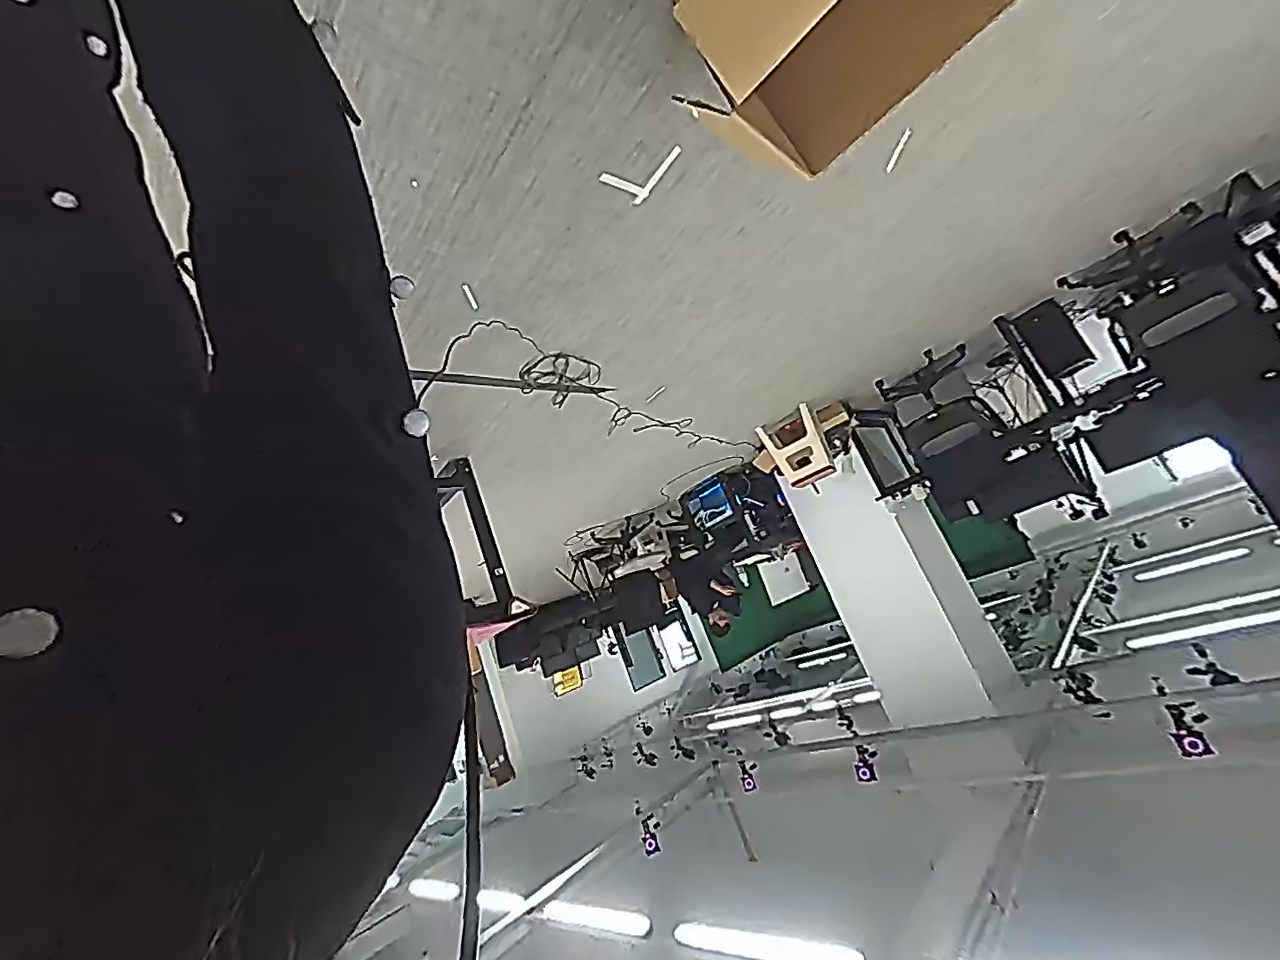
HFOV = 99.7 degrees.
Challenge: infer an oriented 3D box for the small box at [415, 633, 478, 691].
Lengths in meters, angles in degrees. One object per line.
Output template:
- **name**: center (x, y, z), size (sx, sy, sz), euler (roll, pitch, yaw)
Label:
- **small box**: center (-0.807, 0.747, 2.242), size (0.179, 0.176, 0.168), euler (-32, 162, 34)
